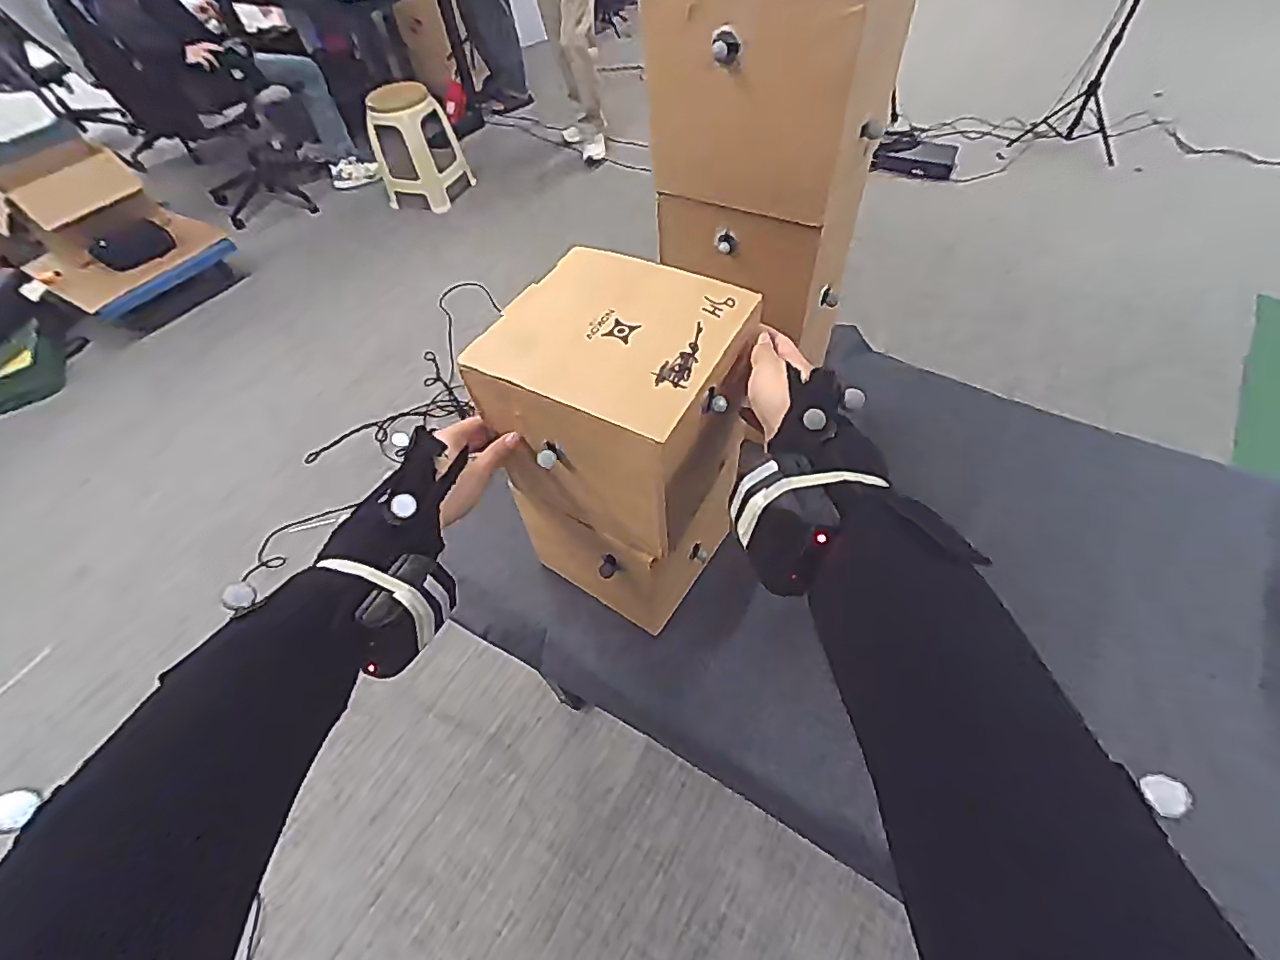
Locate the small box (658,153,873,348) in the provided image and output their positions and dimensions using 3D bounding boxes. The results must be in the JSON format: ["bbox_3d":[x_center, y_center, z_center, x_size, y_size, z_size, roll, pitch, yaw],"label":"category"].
[{"bbox_3d":[0.135,-0.278,0.612,0.179,0.176,0.168,23,62,18],"label":"small box"}]

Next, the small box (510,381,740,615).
[{"bbox_3d":[-0.010,0.027,0.605,0.179,0.176,0.168,28,59,22],"label":"small box"}]

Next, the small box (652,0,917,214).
[{"bbox_3d":[0.120,-0.362,0.471,0.179,0.176,0.168,25,63,20],"label":"small box"}]
